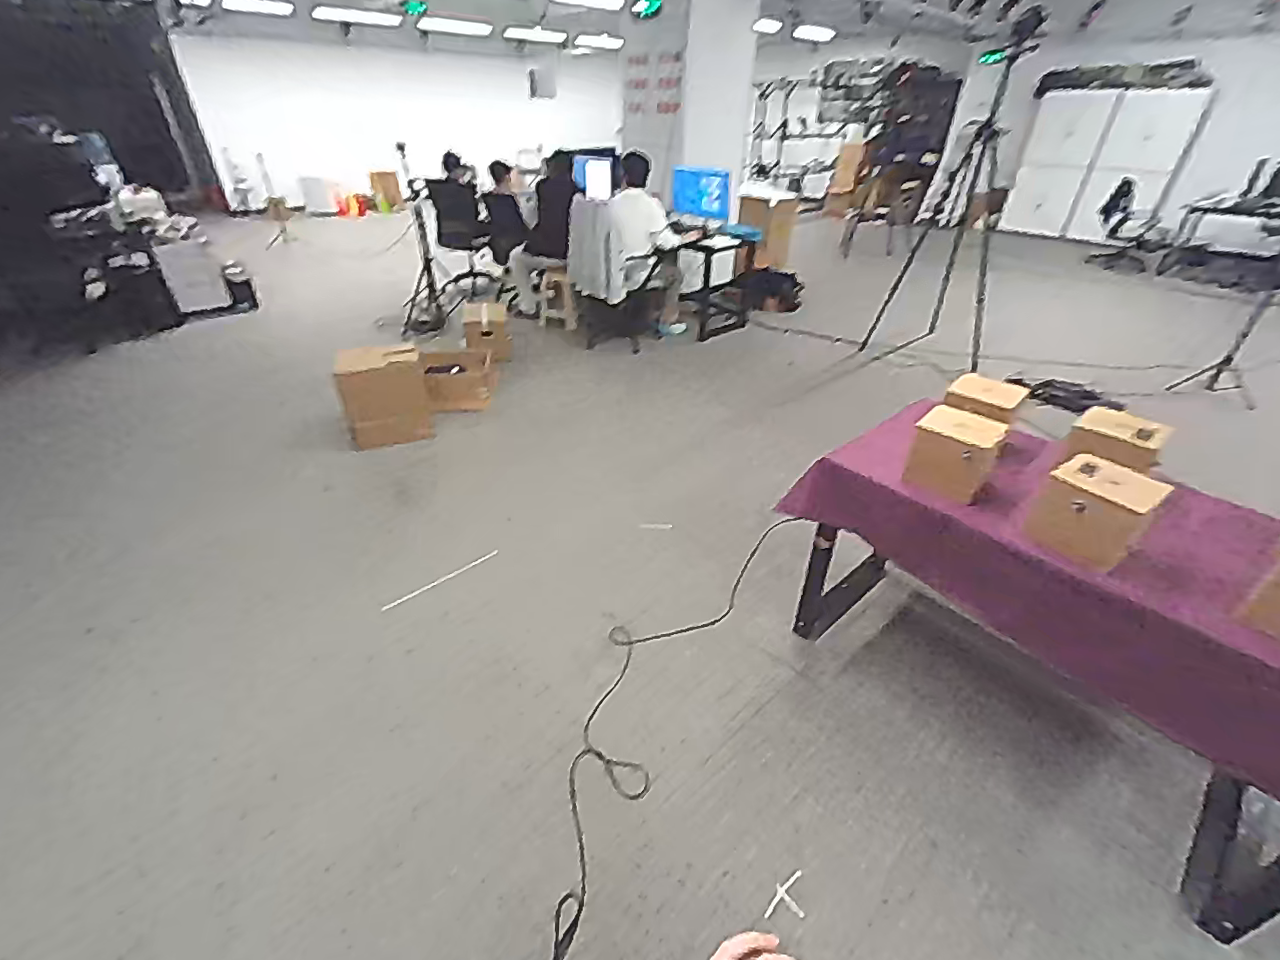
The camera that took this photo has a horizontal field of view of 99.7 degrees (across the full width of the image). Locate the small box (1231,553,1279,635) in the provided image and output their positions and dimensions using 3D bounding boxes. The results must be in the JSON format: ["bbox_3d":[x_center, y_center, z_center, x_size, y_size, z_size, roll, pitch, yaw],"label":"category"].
[{"bbox_3d":[1.269,0.210,0.991,0.168,0.176,0.179,-20,40,-28],"label":"small box"}]

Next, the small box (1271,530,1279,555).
[{"bbox_3d":[1.518,0.103,1.151,0.179,0.176,0.168,-23,40,-30],"label":"small box"}]

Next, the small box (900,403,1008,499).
[{"bbox_3d":[0.810,-0.077,1.407,0.179,0.176,0.168,29,43,34],"label":"small box"}]

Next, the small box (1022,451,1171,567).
[{"bbox_3d":[1.003,0.062,1.203,0.168,0.176,0.179,-21,40,-28],"label":"small box"}]
